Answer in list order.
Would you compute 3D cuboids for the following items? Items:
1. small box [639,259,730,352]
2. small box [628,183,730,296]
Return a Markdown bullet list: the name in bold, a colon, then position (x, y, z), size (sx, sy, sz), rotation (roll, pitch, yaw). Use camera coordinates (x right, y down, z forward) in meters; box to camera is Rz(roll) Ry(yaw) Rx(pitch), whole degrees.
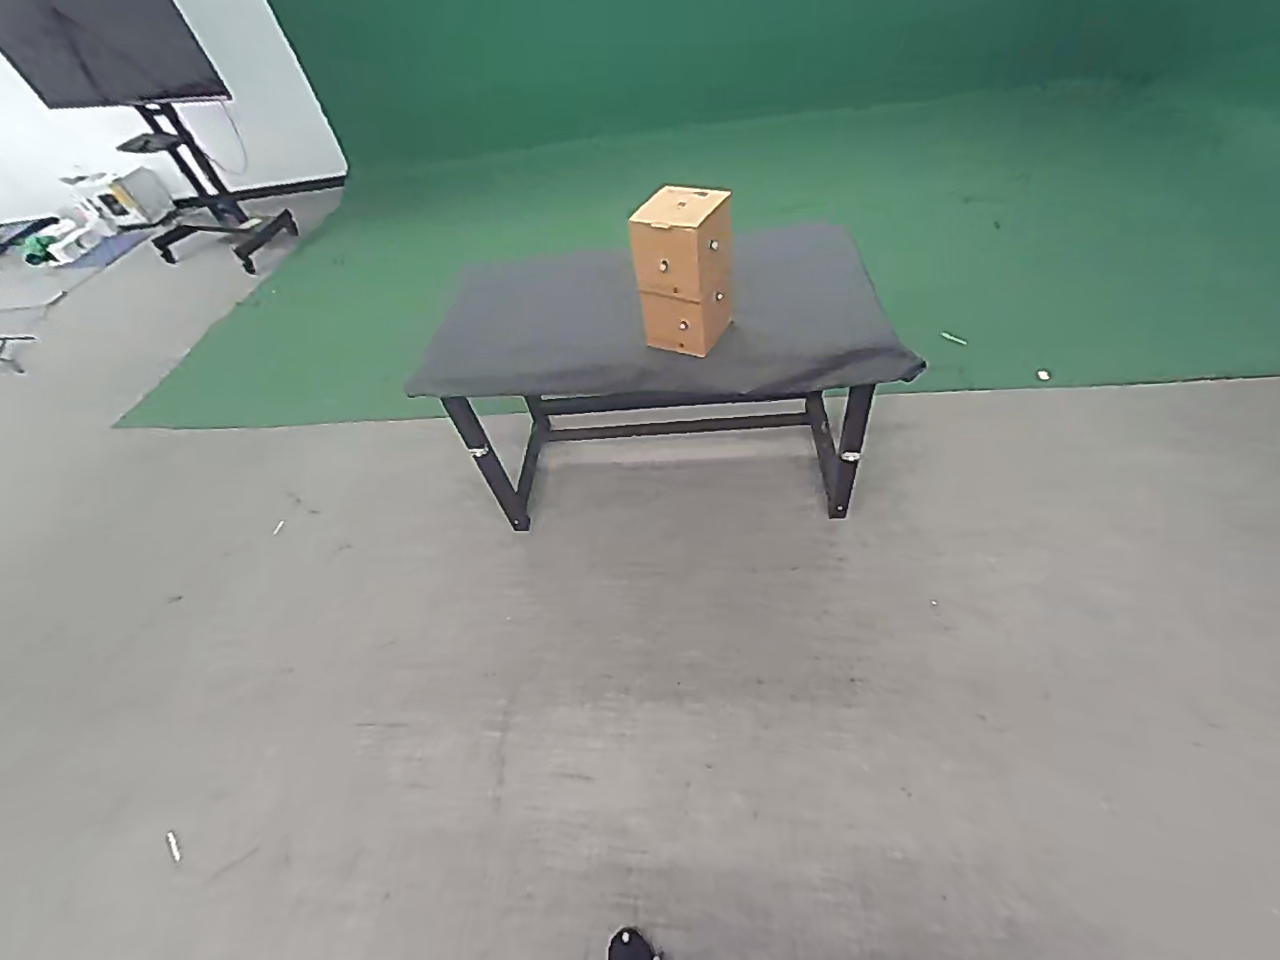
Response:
- **small box**: position (0.119, -0.443, 1.348), size (0.168, 0.176, 0.179), rotation (20, 55, 23)
- **small box**: position (0.097, -0.539, 1.216), size (0.168, 0.176, 0.179), rotation (20, 57, 24)
